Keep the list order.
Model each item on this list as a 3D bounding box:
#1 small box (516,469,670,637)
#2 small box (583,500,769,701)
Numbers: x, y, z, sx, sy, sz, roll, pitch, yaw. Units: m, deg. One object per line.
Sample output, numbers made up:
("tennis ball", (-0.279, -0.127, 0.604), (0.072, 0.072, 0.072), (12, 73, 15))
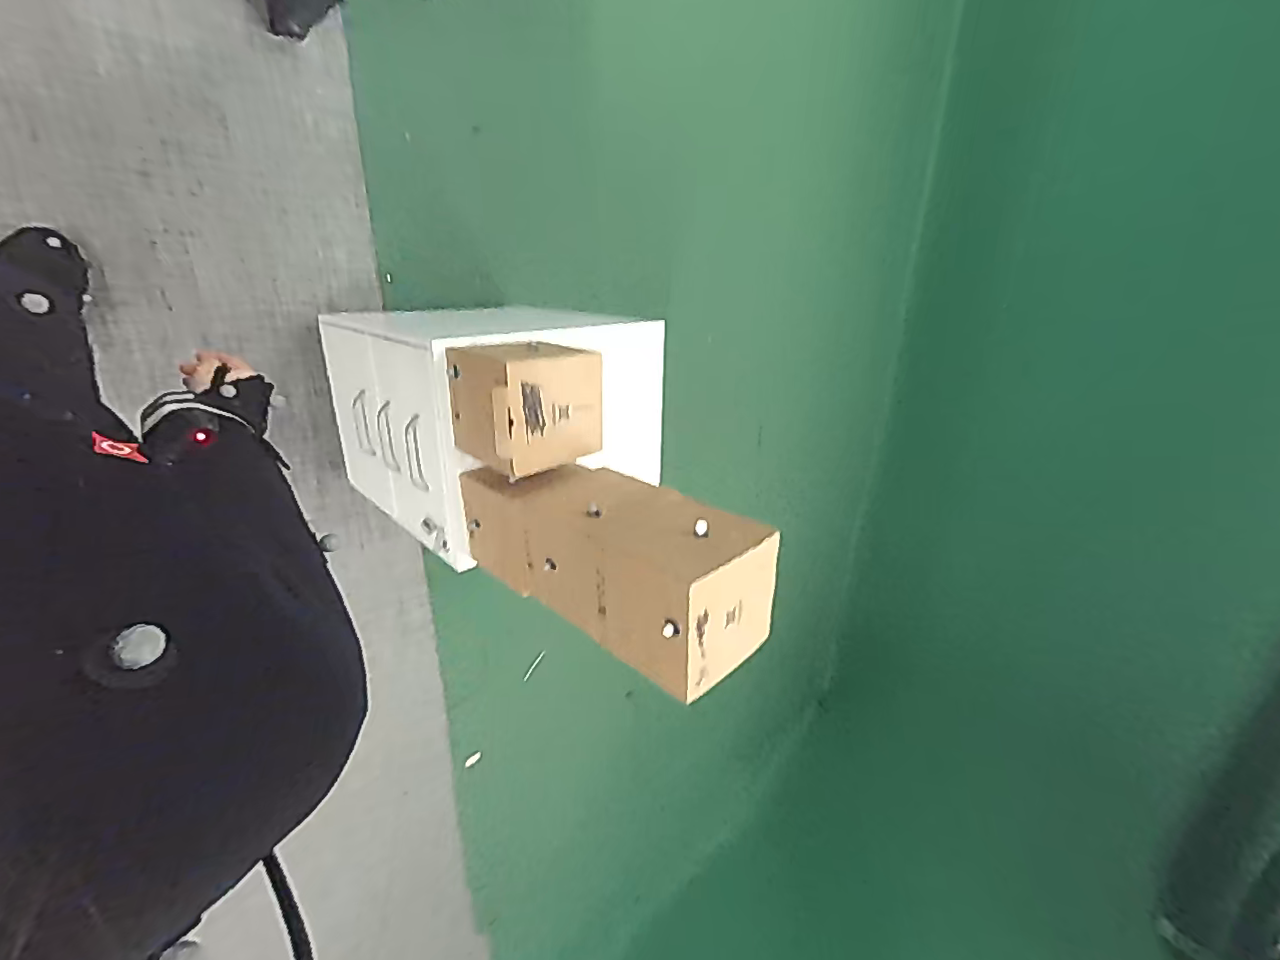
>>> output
("small box", (-0.072, 0.097, 0.815), (0.179, 0.176, 0.168), (-24, 122, -40))
("small box", (0.045, 0.141, 0.709), (0.179, 0.176, 0.168), (-22, 120, -42))
